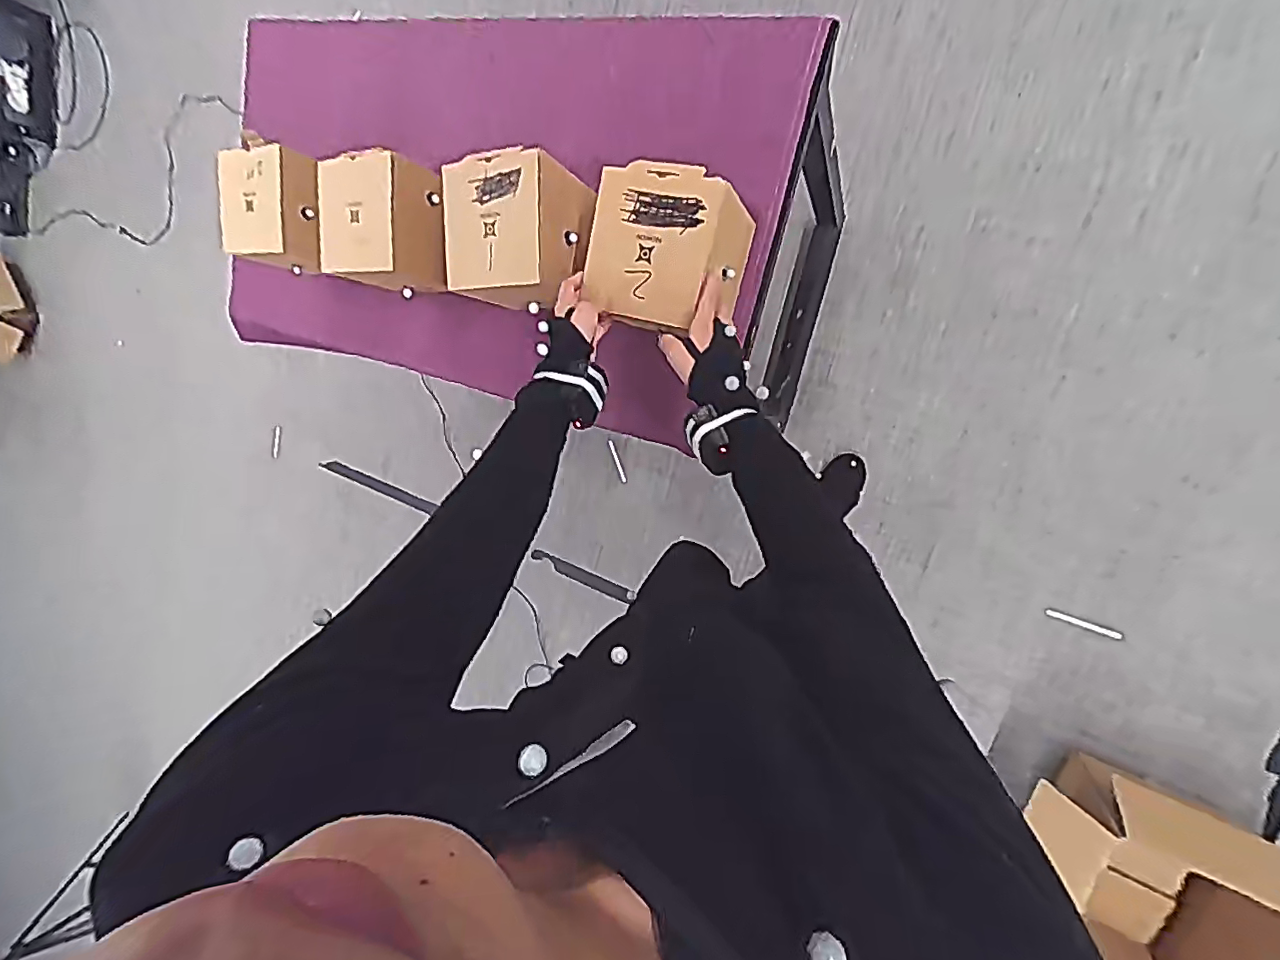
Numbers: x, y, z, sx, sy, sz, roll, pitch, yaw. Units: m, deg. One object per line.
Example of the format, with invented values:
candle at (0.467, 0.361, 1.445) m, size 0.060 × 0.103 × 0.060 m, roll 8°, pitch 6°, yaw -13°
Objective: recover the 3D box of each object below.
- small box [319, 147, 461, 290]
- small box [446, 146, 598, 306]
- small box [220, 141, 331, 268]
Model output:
small box at (-0.416, -0.435, 0.926) m, size 0.168 × 0.176 × 0.179 m, roll 9°, pitch 100°, yaw 23°
small box at (-0.174, -0.374, 0.830) m, size 0.168 × 0.176 × 0.179 m, roll 5°, pitch 100°, yaw 23°
small box at (-0.644, -0.502, 1.013) m, size 0.168 × 0.176 × 0.179 m, roll 10°, pitch 100°, yaw 21°
